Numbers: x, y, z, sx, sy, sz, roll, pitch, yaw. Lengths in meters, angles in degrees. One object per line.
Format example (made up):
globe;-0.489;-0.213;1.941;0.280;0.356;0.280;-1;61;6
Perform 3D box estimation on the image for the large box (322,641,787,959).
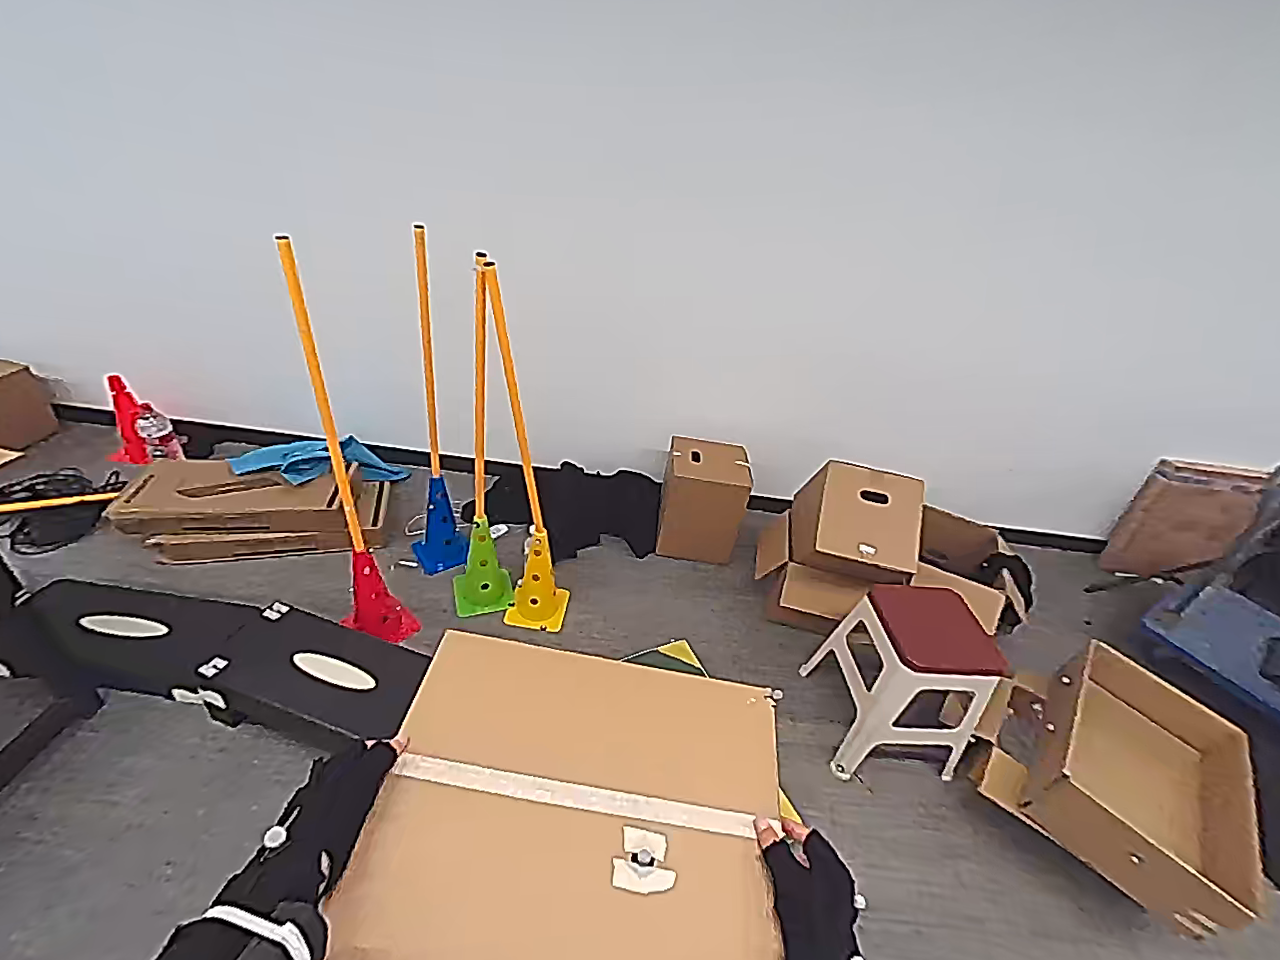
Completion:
large box;-0.075;0.439;0.652;0.408;0.320;0.320;11;41;0
